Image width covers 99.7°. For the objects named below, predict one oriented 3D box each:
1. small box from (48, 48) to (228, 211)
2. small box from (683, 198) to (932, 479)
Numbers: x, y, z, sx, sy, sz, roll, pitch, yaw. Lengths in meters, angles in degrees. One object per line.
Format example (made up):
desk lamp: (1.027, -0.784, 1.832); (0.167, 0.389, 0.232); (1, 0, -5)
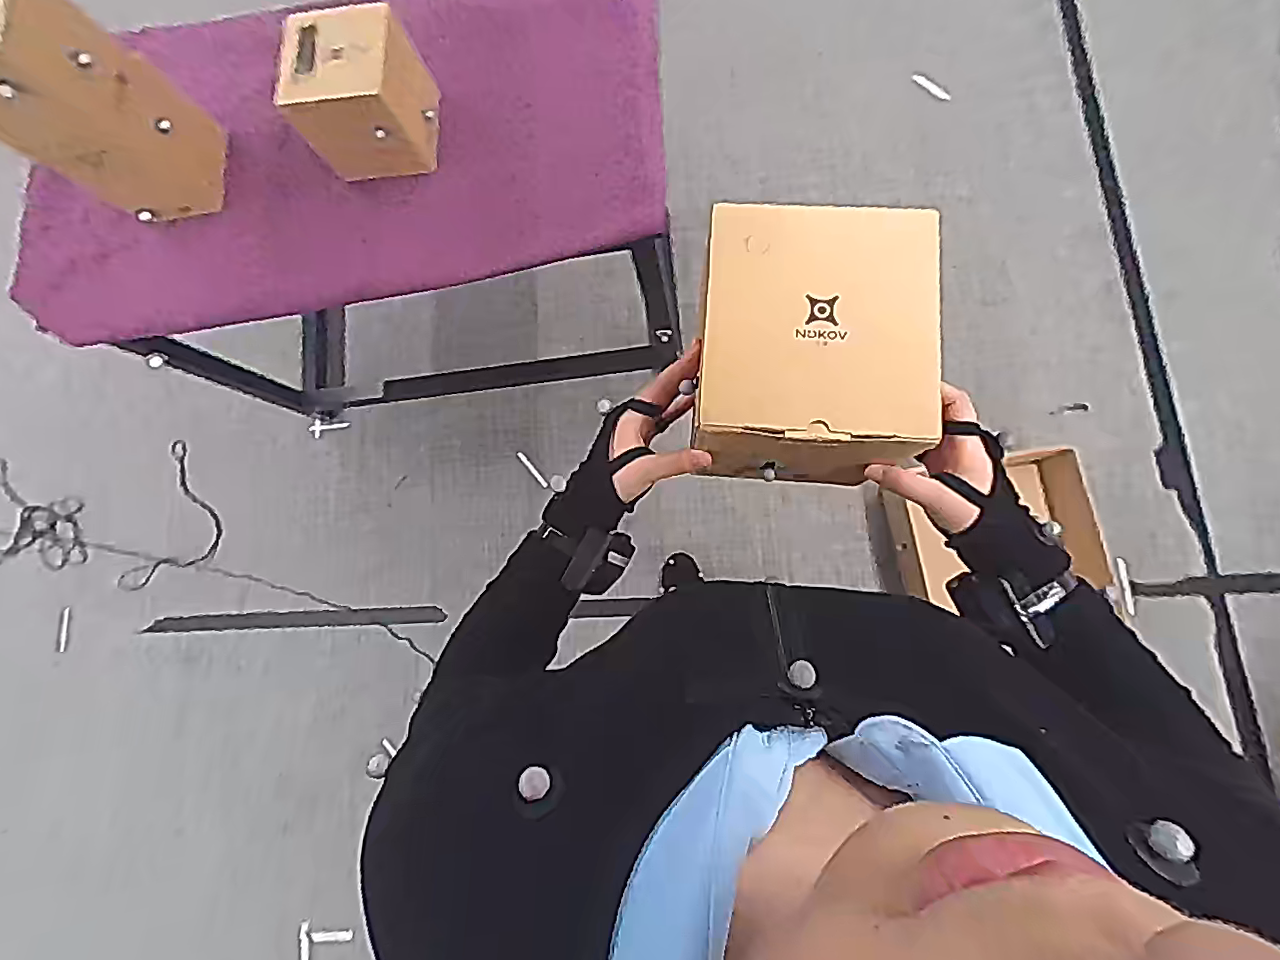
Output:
small box: (-0.874, -0.601, 0.956); (0.168, 0.176, 0.179); (-5, 81, 7)
small box: (0.125, -0.105, 0.462); (0.168, 0.176, 0.179); (3, 80, 3)
